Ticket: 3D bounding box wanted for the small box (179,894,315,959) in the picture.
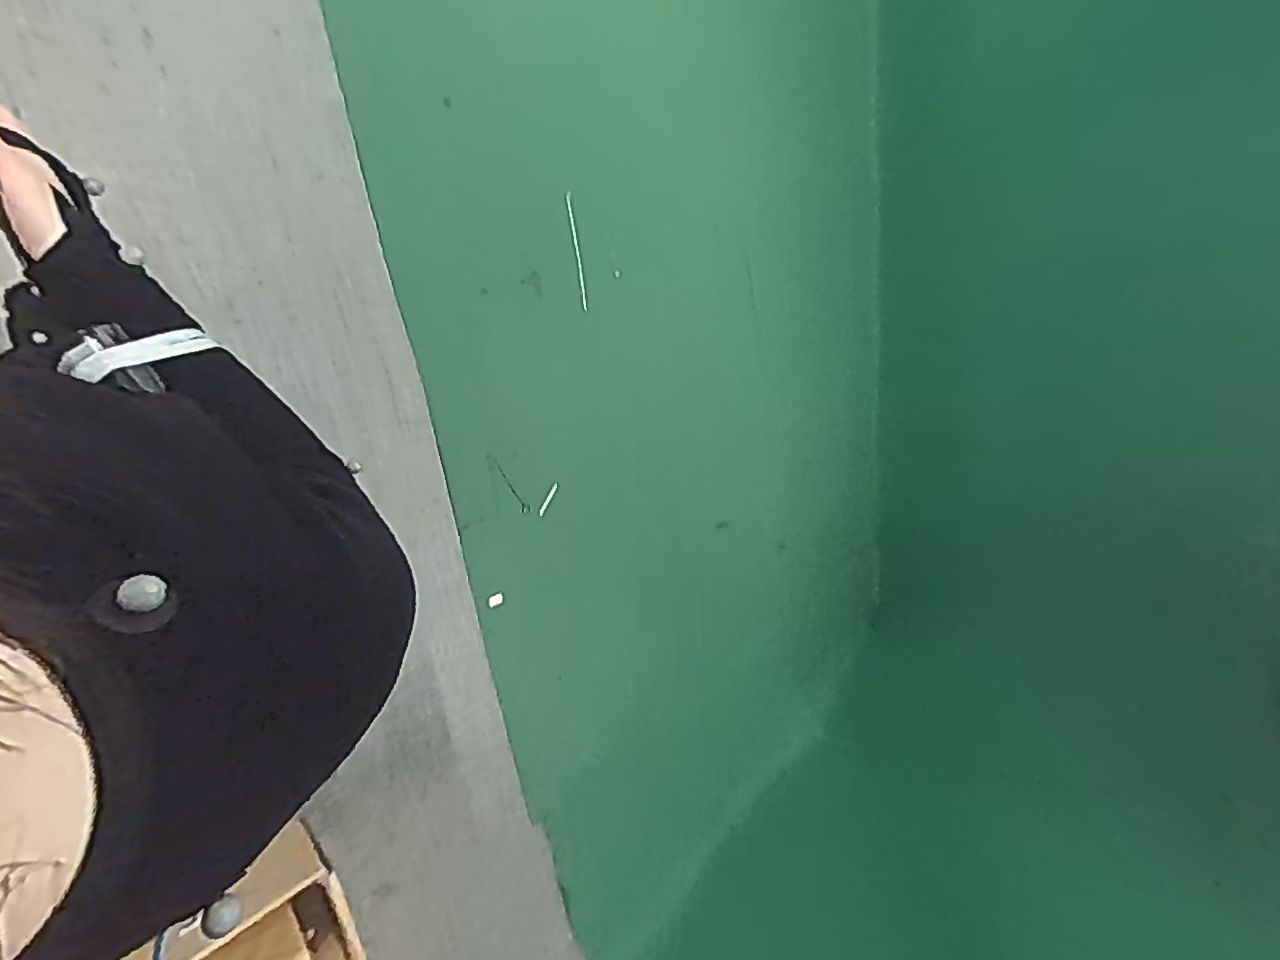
[{"bbox_3d":[-0.630,0.835,0.872,0.179,0.176,0.168,-19,108,-41],"label":"small box"}]
